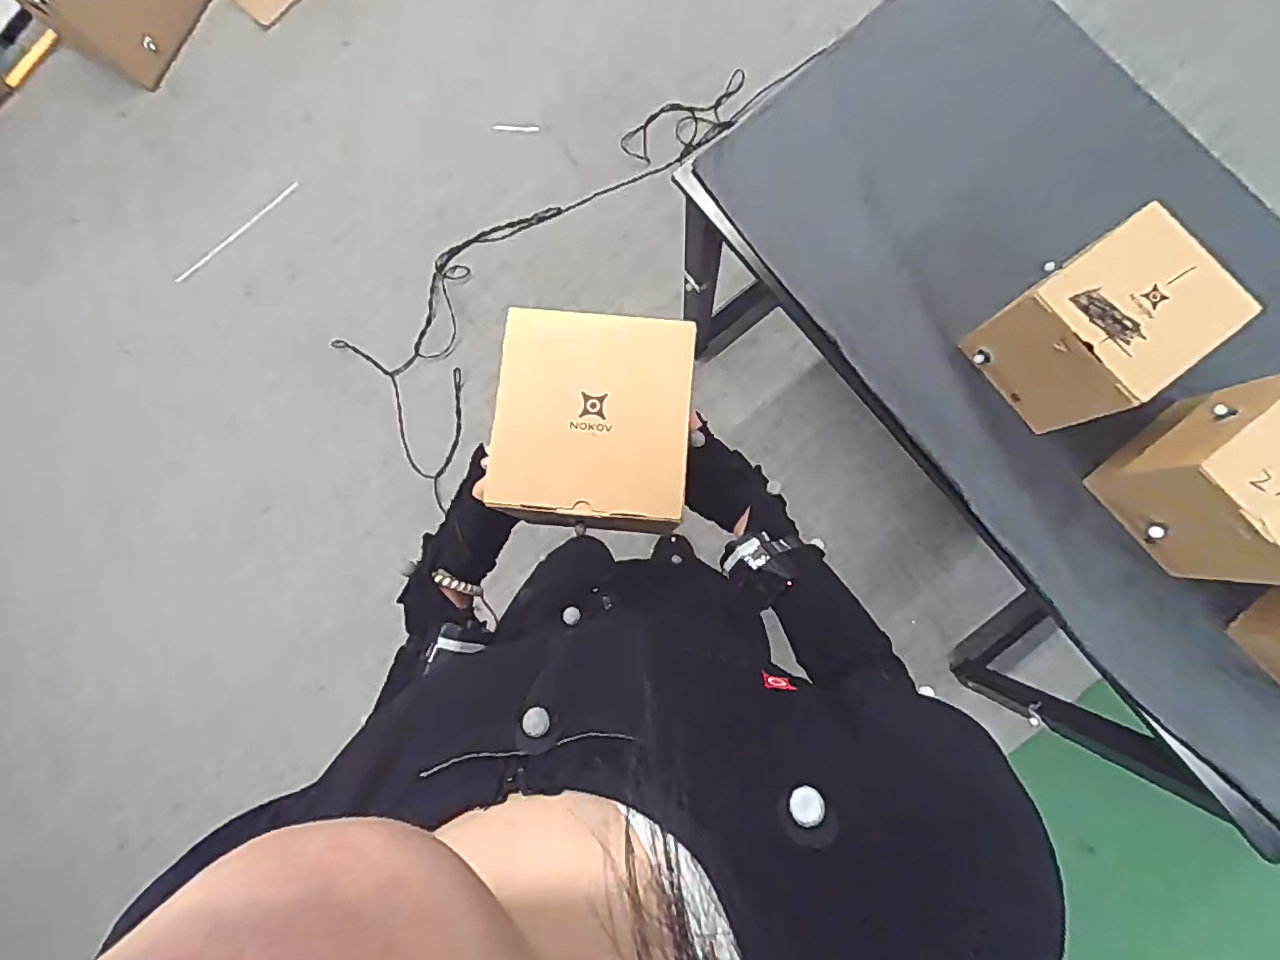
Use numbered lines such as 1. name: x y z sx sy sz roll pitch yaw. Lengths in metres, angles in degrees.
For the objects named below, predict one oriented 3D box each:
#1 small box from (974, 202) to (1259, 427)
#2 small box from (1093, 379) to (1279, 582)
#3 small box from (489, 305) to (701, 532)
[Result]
1. small box: 0.558 -0.187 0.671 0.179 0.176 0.168 -37 83 -2
2. small box: 0.710 -0.001 0.641 0.179 0.176 0.168 -39 83 -1
3. small box: -0.037 -0.047 0.531 0.168 0.176 0.179 5 81 0
